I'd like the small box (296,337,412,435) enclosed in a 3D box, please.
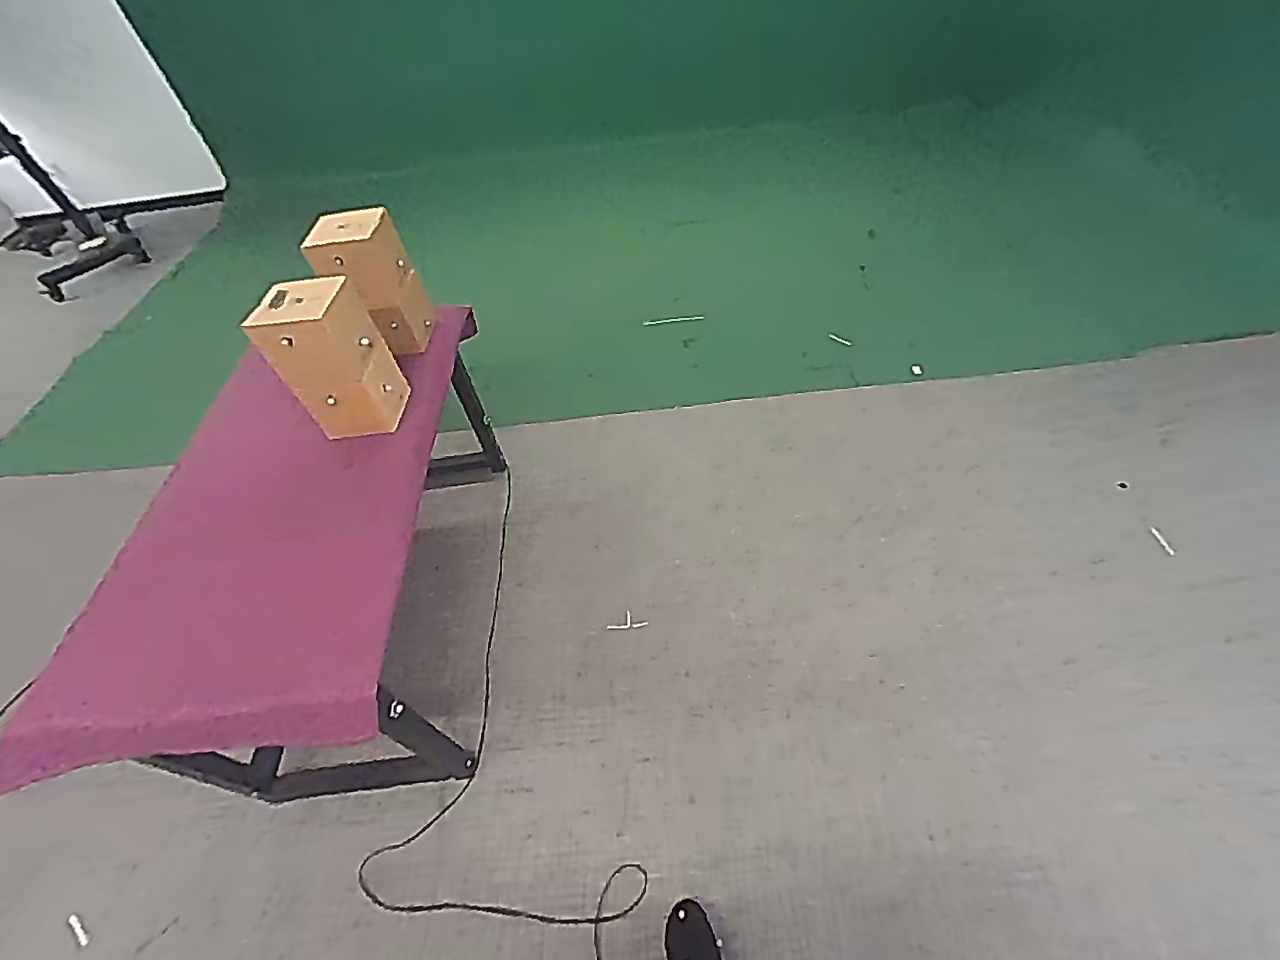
[{"bbox_3d":[-0.693,-0.230,1.337,0.179,0.176,0.168,-5,50,5],"label":"small box"}]

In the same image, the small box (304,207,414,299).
[{"bbox_3d":[-0.726,-0.587,1.417,0.179,0.176,0.168,-6,52,3],"label":"small box"}]

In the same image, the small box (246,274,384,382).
[{"bbox_3d":[-0.715,-0.335,1.212,0.179,0.176,0.168,-4,51,5],"label":"small box"}]
